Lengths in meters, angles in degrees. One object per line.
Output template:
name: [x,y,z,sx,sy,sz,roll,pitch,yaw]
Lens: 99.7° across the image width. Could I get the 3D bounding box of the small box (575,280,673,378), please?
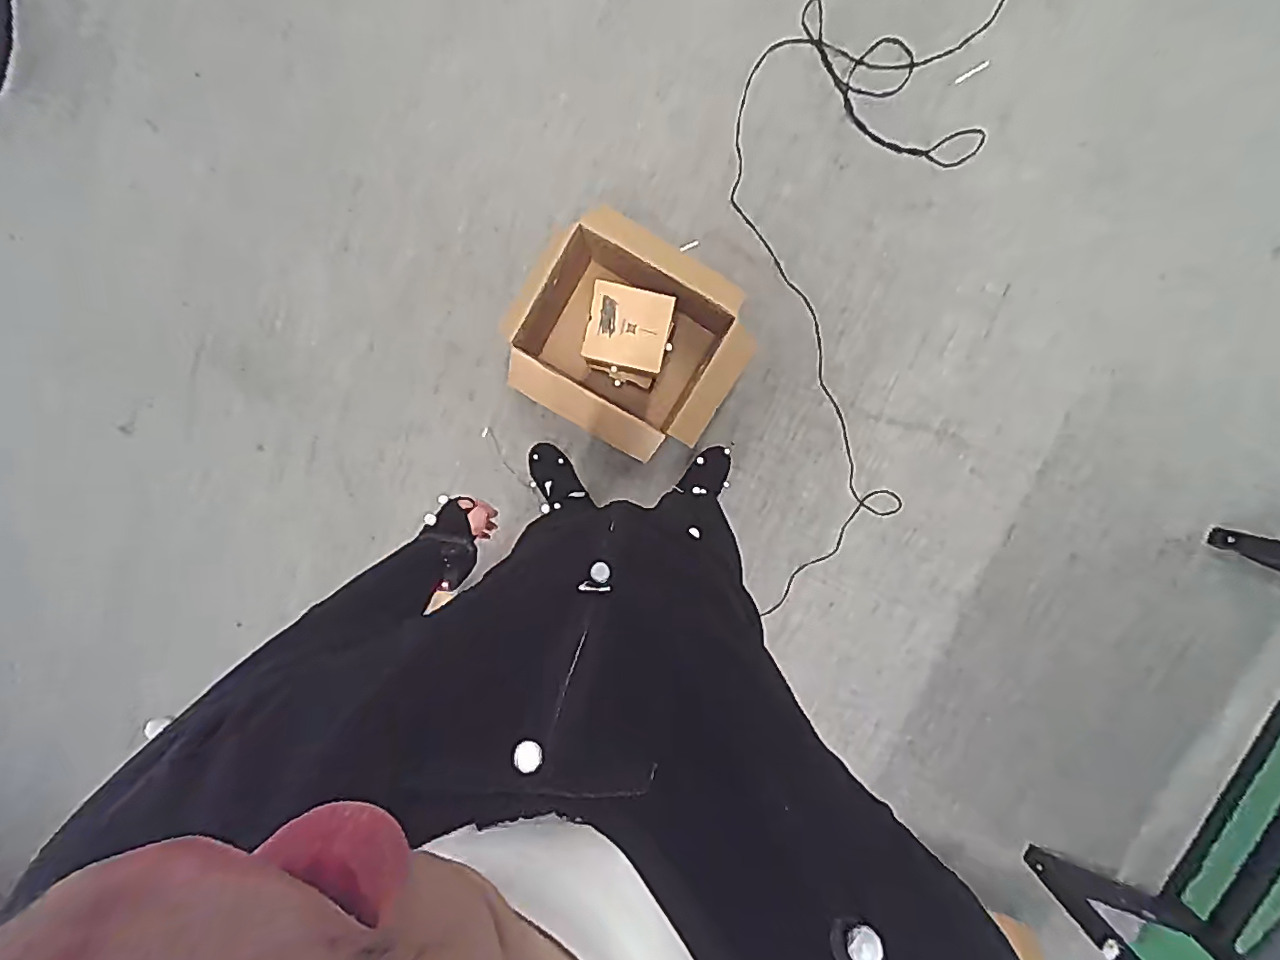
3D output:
small box: [-0.034,-0.331,1.221,0.179,0.176,0.168,16,98,-1]
